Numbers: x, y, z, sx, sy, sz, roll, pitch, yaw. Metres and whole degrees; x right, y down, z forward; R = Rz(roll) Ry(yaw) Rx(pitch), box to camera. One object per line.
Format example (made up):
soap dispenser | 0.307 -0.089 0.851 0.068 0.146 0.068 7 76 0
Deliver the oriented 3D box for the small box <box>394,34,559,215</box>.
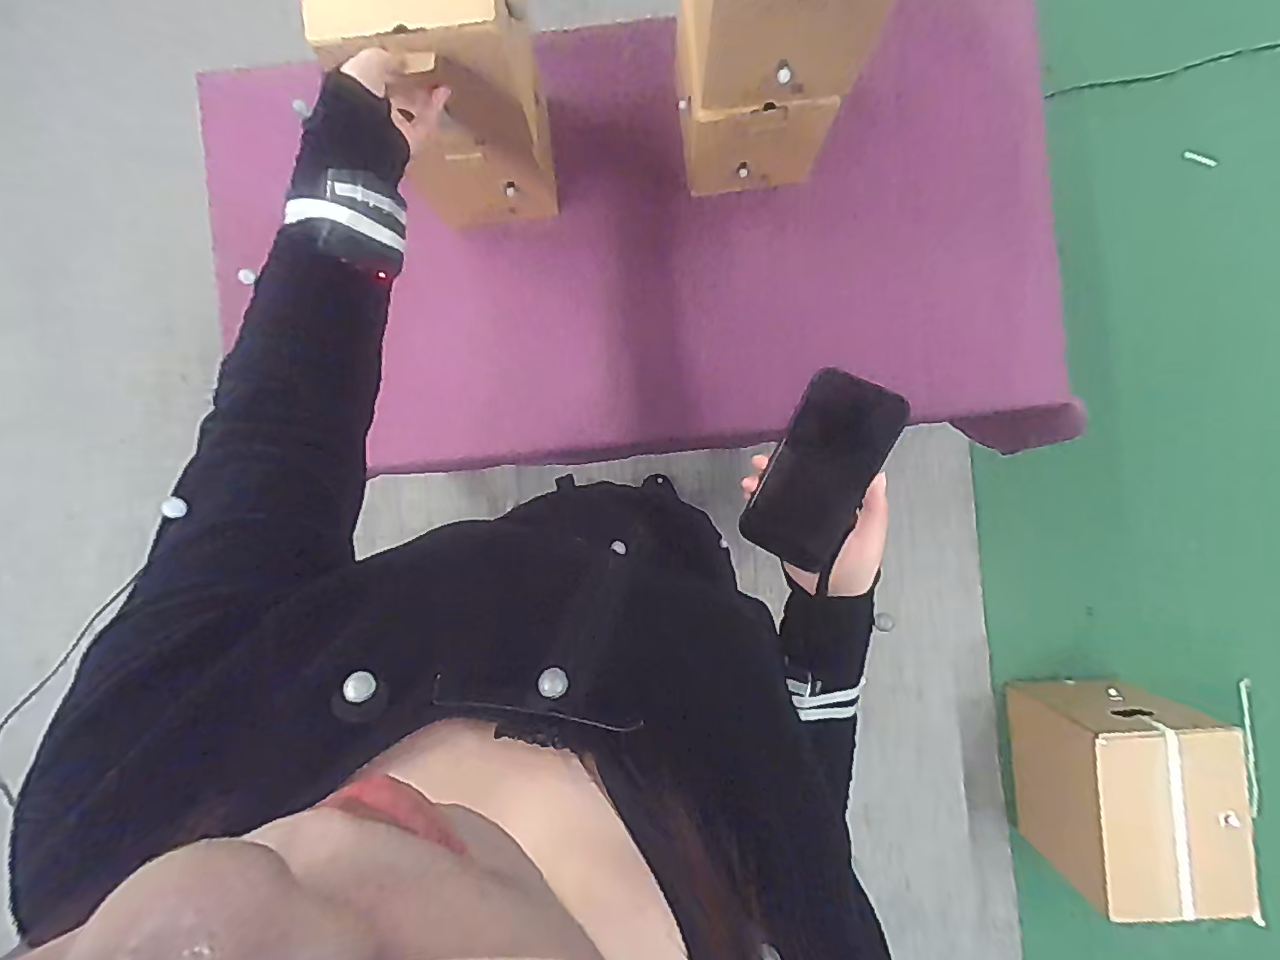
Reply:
small box | -0.204 -0.465 0.700 0.168 0.176 0.179 -5 90 1

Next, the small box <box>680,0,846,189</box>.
small box | 0.143 -0.507 0.686 0.168 0.176 0.179 -7 91 3

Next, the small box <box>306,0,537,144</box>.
small box | -0.203 -0.463 0.536 0.168 0.176 0.179 -4 91 1

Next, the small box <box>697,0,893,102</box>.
small box | 0.142 -0.513 0.521 0.168 0.176 0.179 -5 91 3
